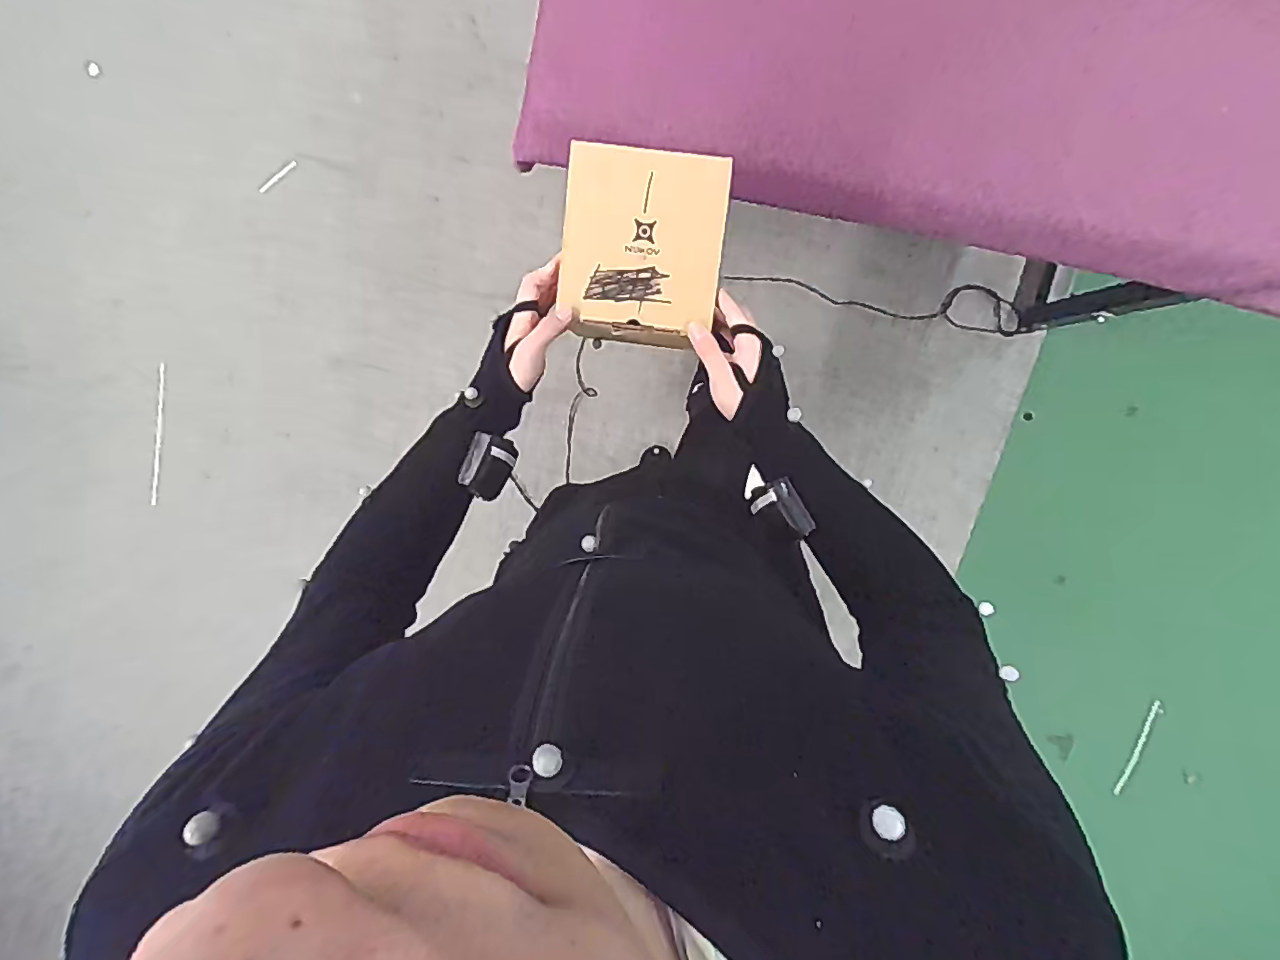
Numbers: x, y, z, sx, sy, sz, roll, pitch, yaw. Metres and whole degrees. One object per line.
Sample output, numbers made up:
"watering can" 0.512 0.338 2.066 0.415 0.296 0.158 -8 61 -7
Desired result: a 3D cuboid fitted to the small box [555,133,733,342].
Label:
"small box" 0.004 -0.262 0.627 0.168 0.176 0.179 7 98 0
